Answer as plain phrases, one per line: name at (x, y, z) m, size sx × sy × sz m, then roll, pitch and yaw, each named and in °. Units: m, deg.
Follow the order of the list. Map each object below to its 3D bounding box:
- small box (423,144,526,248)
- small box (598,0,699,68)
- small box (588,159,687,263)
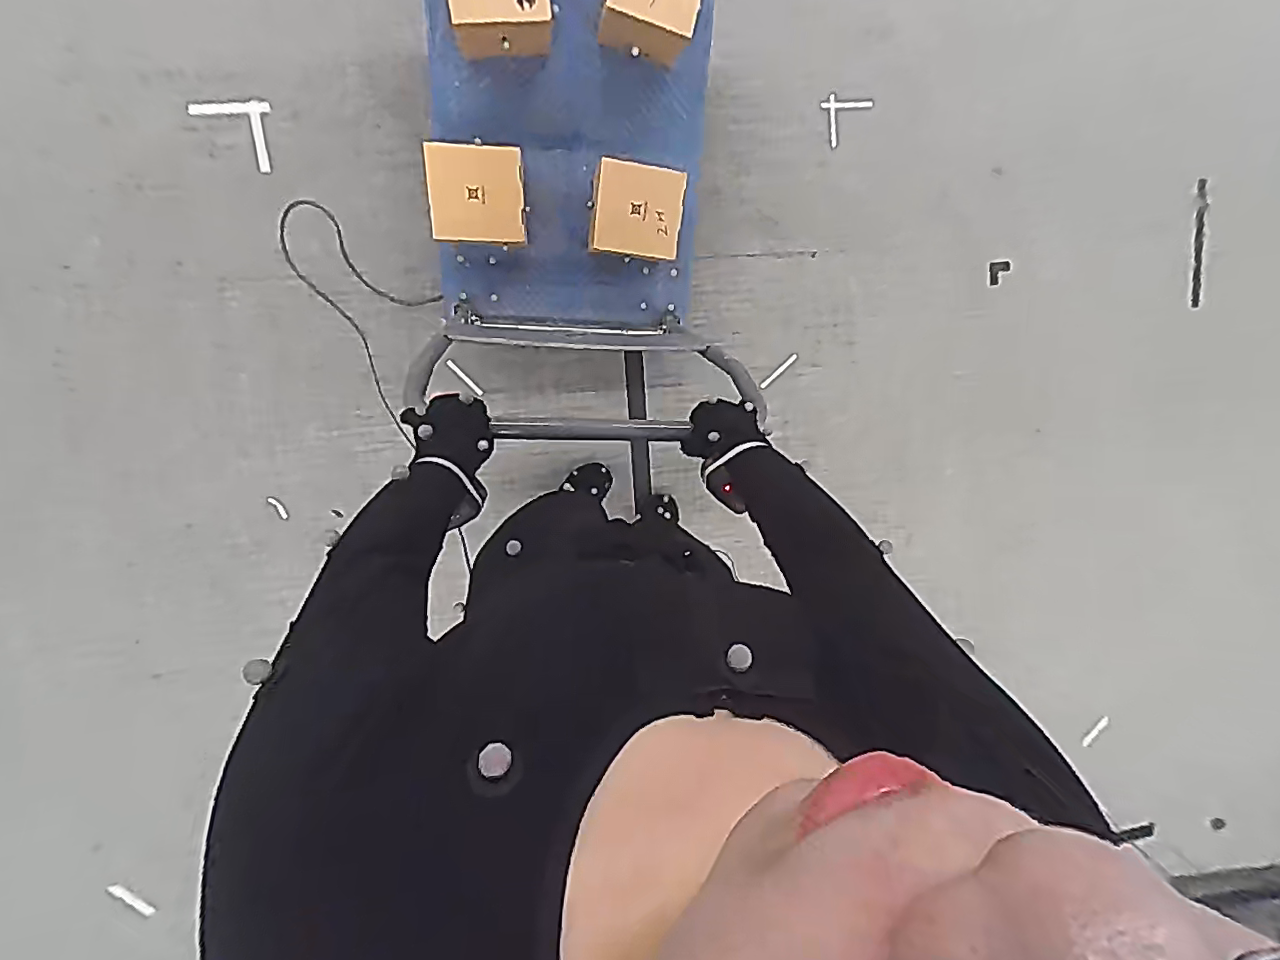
small box at (-0.327, -0.565, 1.098) m, size 0.179 × 0.176 × 0.168 m, roll -4°, pitch 111°, yaw -11°
small box at (0.021, -0.931, 1.024) m, size 0.168 × 0.176 × 0.179 m, roll 10°, pitch 109°, yaw -14°
small box at (-0.014, -0.564, 1.155) m, size 0.179 × 0.176 × 0.168 m, roll 4°, pitch 110°, yaw -12°
